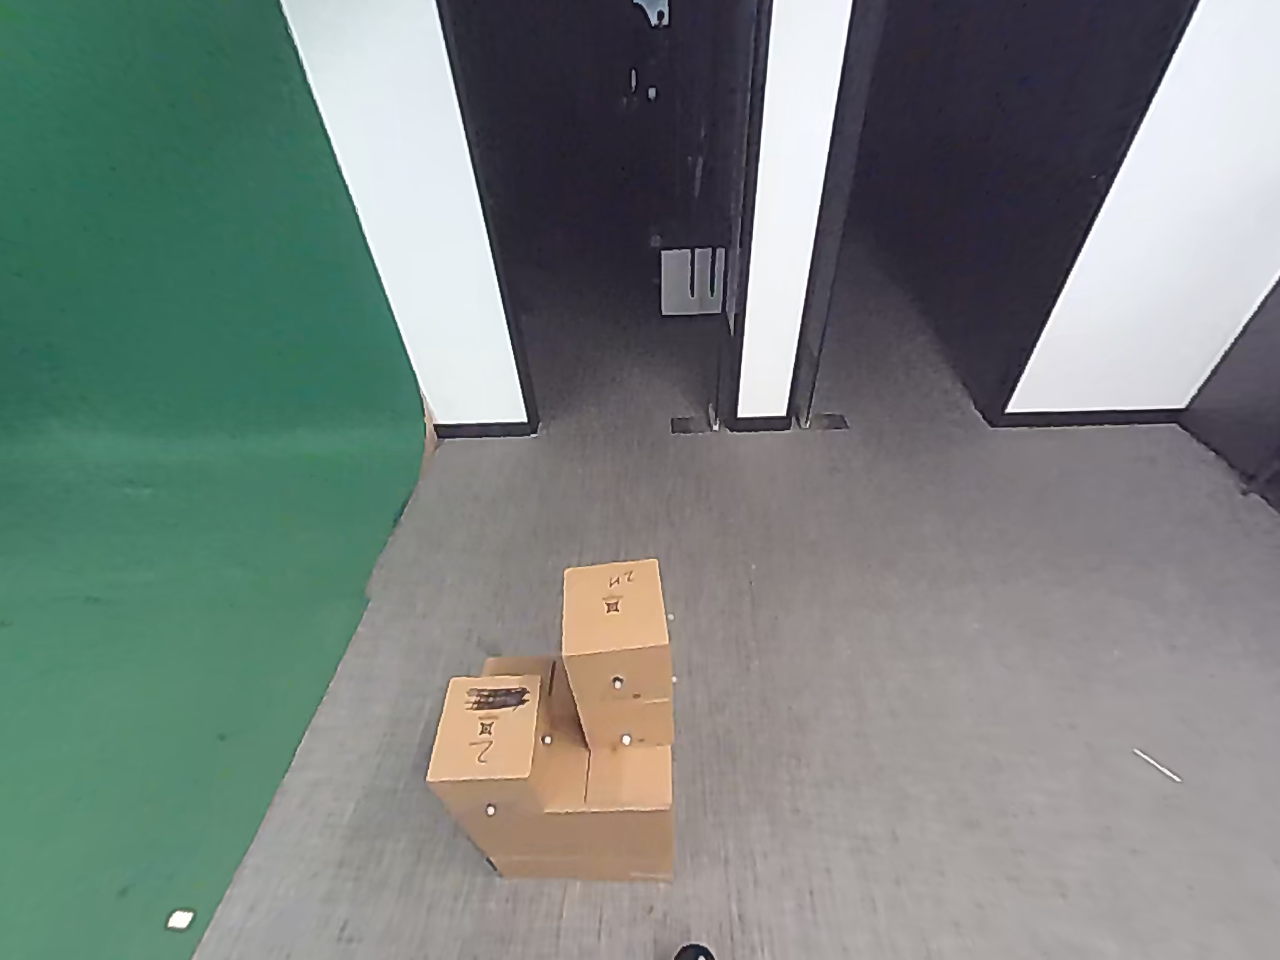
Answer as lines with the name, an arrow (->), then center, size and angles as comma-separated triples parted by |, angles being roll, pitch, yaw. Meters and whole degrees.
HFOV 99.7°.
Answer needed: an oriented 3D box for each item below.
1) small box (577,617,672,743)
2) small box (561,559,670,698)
small box -> -0.026, 0.385, 1.051 | 0.168, 0.176, 0.179 | -4, 43, 2
small box -> -0.039, 0.263, 0.942 | 0.168, 0.176, 0.179 | -5, 41, 0
